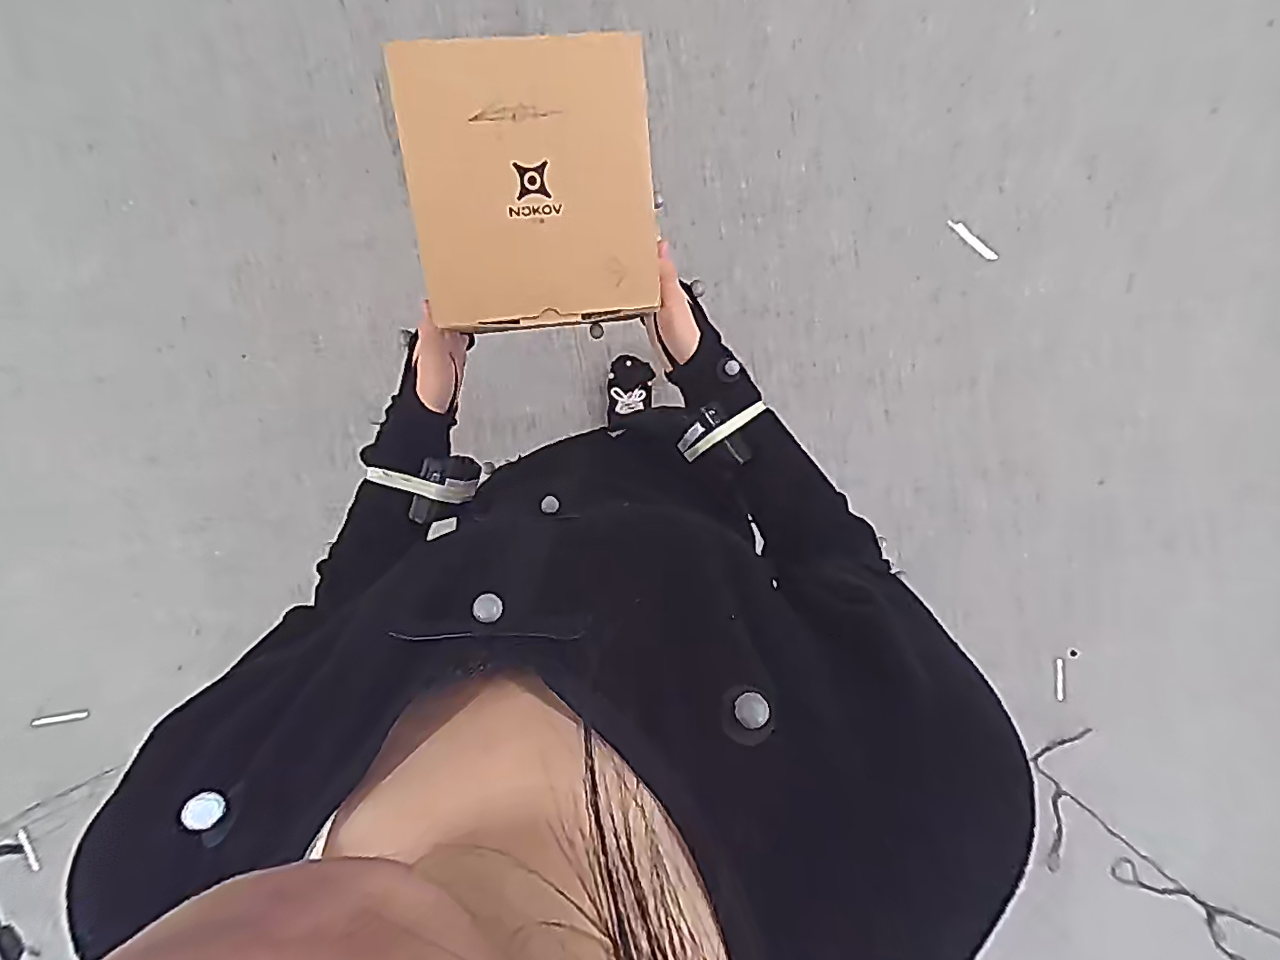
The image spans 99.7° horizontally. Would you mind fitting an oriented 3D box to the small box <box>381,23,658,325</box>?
[{"bbox_3d":[-0.083,-0.223,0.441,0.168,0.176,0.179,-8,105,-6],"label":"small box"}]
